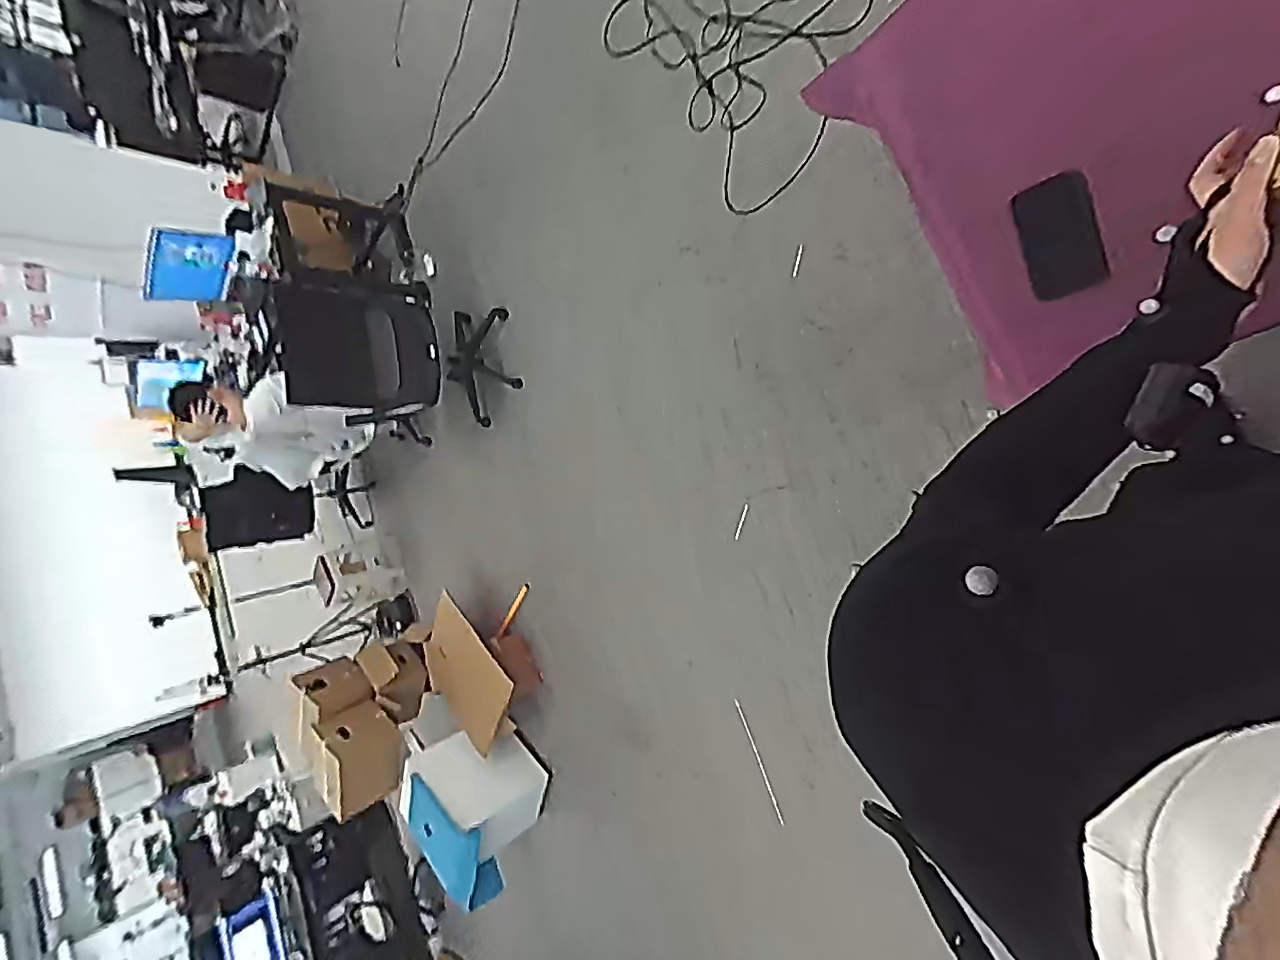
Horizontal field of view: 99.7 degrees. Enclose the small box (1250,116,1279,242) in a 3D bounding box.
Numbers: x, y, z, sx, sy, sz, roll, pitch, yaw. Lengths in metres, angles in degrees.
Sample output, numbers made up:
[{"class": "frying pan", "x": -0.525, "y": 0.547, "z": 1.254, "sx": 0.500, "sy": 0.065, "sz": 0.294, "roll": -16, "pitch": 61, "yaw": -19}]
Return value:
[{"class": "small box", "x": 0.572, "y": -0.278, "z": 0.377, "sx": 0.168, "sy": 0.176, "sz": 0.179, "roll": 16, "pitch": 101, "yaw": 43}]
